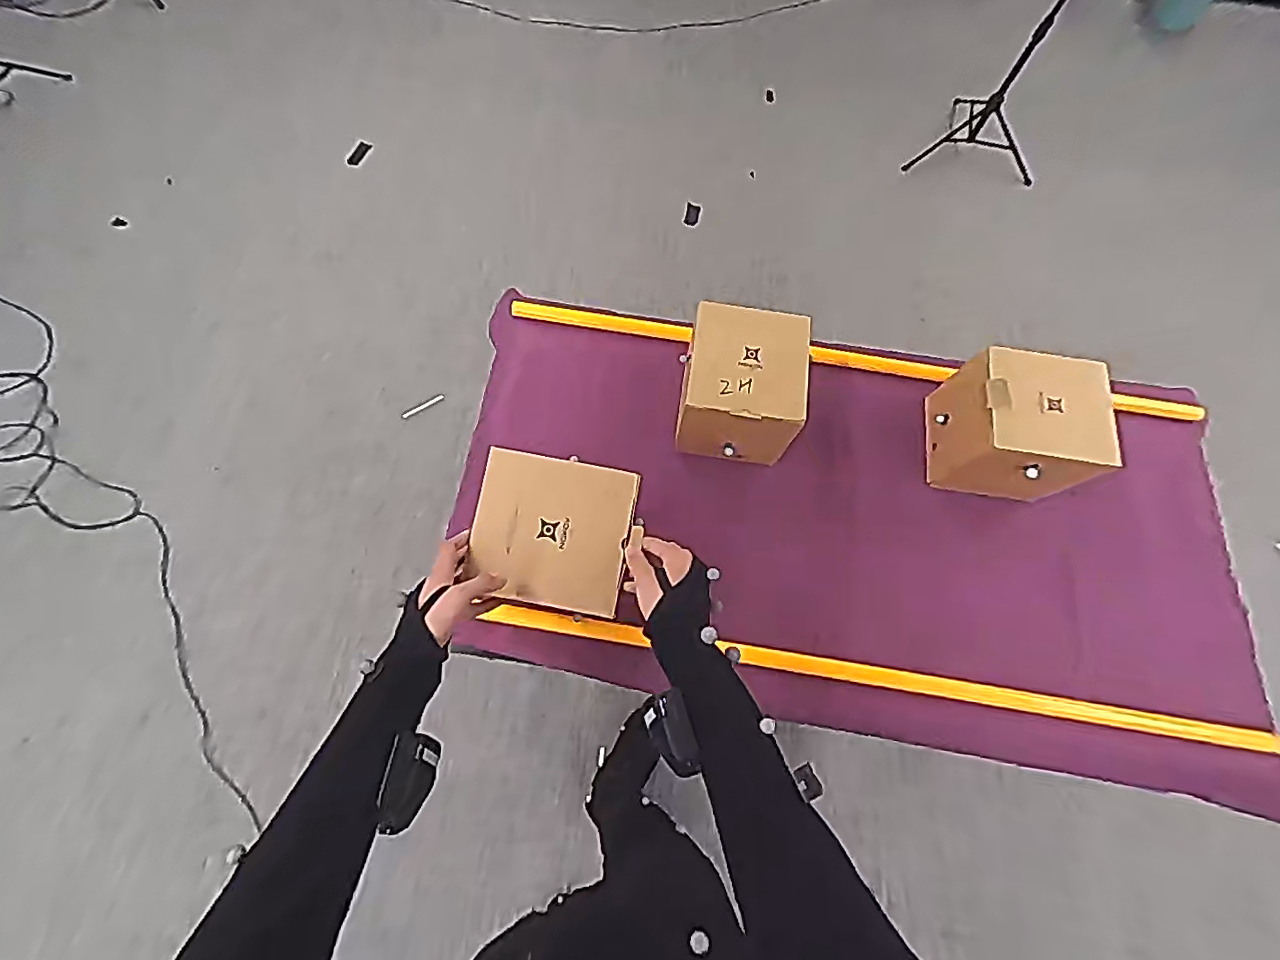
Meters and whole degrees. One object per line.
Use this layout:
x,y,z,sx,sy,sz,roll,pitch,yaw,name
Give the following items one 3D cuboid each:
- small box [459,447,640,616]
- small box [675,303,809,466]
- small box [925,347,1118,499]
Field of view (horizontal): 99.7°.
-0.104,0.070,0.685,0.179,0.176,0.168,11,78,-1,small box
0.150,-0.141,0.837,0.168,0.176,0.179,9,71,1,small box
0.568,-0.077,0.830,0.179,0.176,0.168,8,71,2,small box
